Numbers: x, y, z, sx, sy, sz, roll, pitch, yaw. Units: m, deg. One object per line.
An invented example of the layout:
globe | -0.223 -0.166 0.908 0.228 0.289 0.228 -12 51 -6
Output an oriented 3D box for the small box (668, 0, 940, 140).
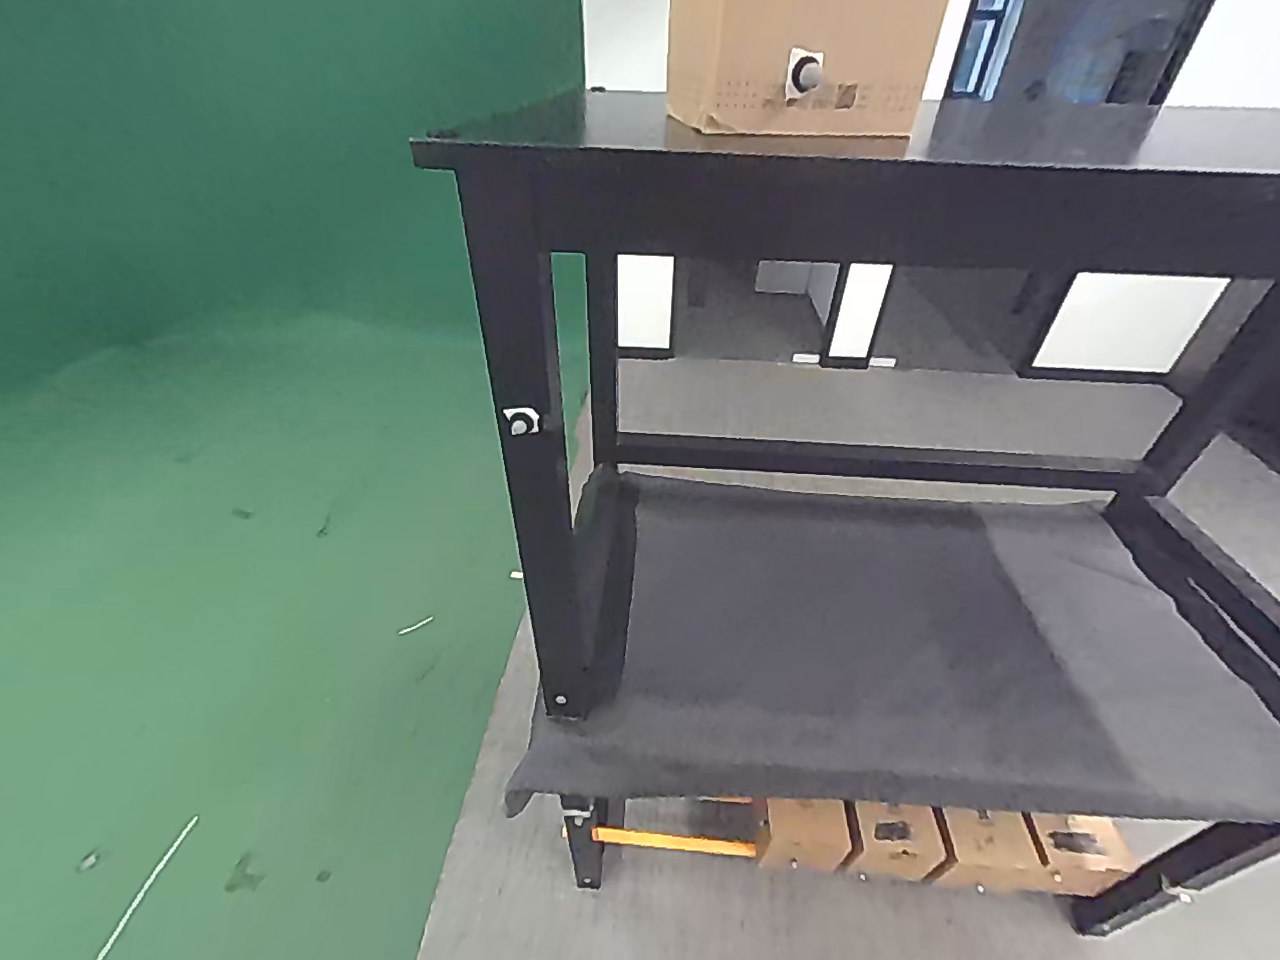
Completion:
small box | 0.117 -0.379 0.426 0.168 0.176 0.179 -4 39 -6
